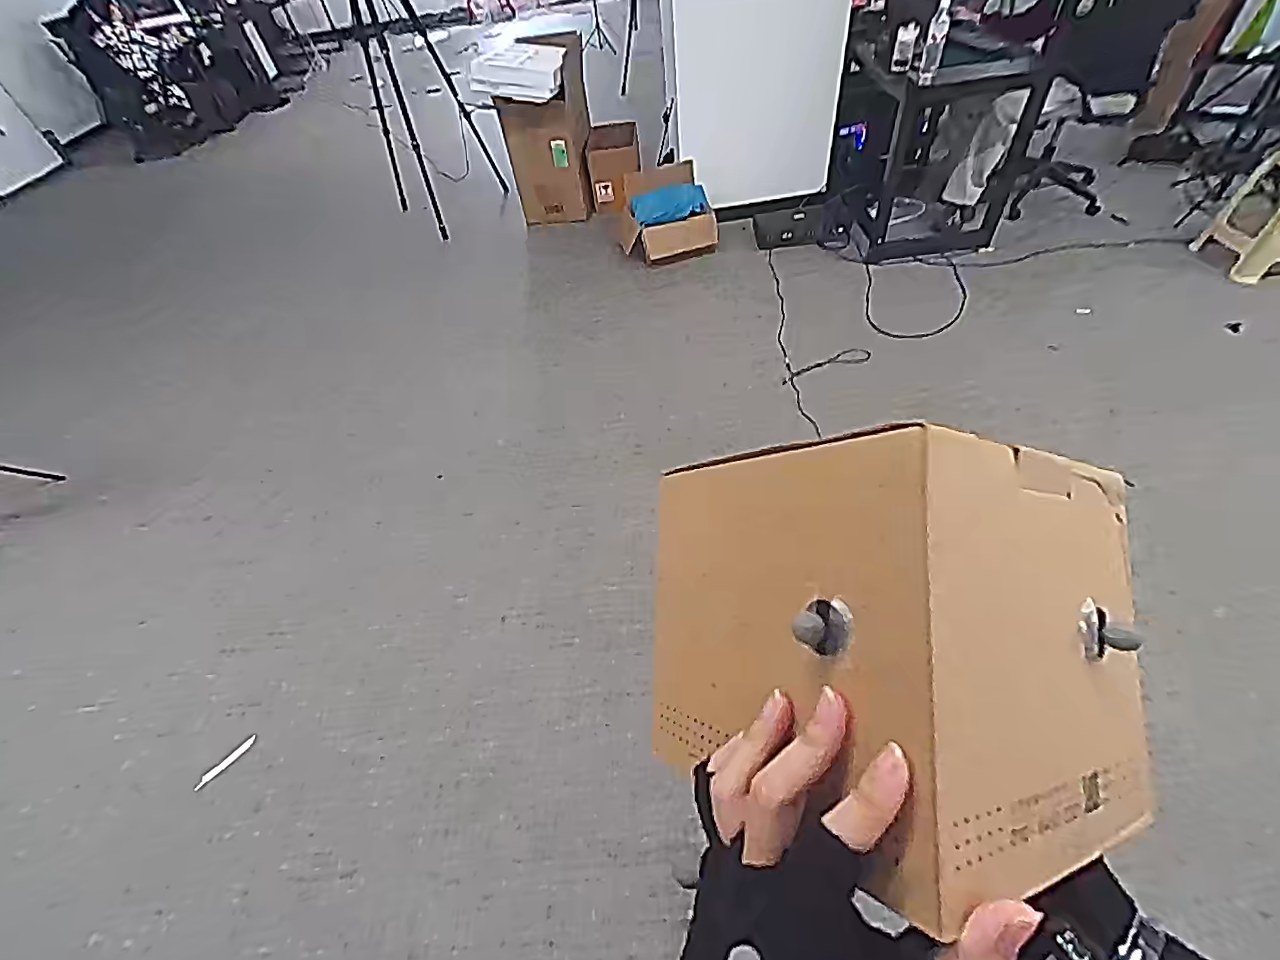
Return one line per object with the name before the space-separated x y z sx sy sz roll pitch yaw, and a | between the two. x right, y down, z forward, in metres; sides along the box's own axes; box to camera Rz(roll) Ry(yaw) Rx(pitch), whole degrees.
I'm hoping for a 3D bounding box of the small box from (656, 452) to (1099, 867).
small box | 0.121 0.086 0.308 0.168 0.179 0.176 7 80 -29
